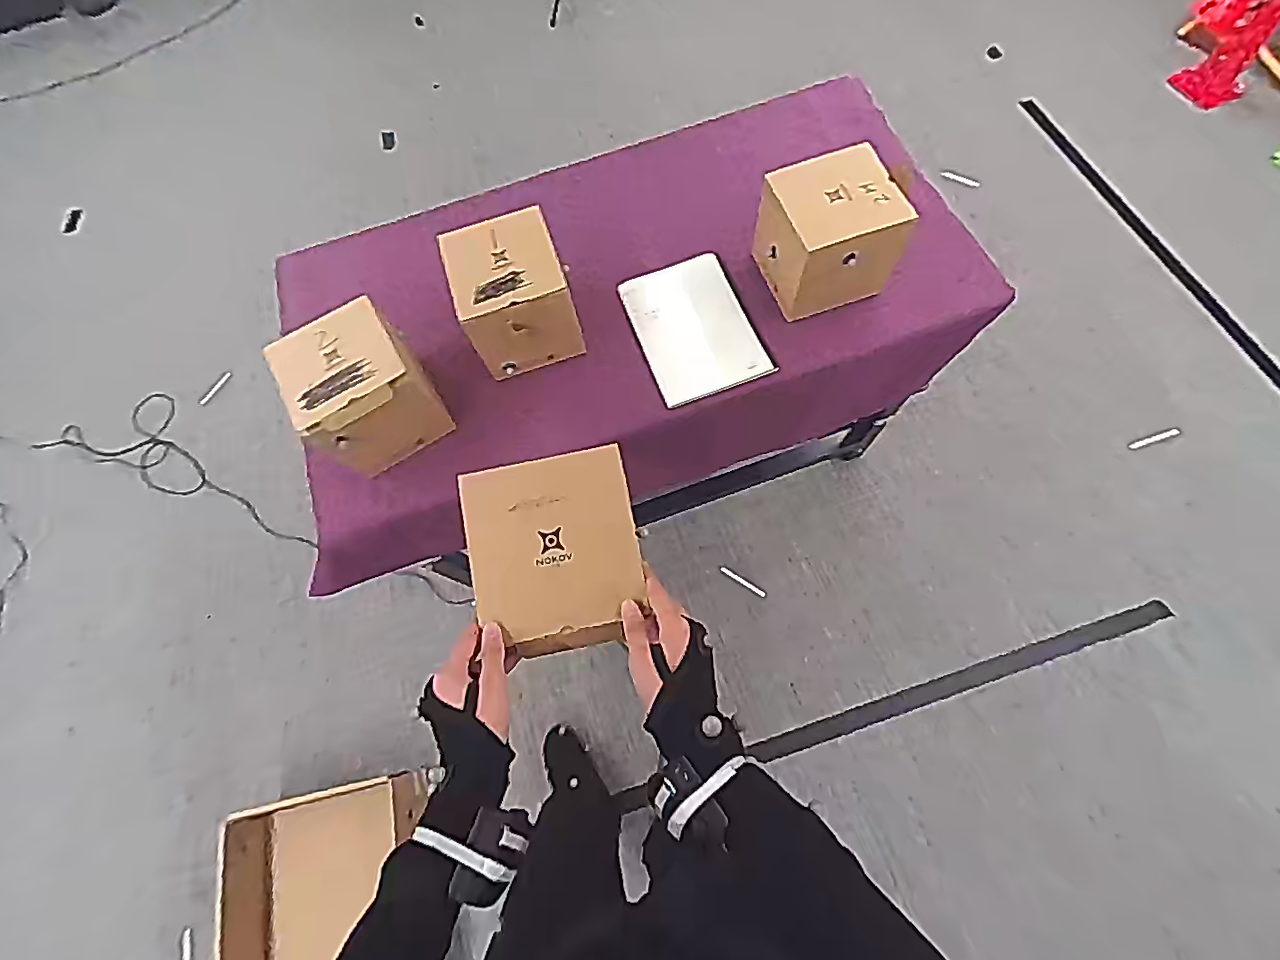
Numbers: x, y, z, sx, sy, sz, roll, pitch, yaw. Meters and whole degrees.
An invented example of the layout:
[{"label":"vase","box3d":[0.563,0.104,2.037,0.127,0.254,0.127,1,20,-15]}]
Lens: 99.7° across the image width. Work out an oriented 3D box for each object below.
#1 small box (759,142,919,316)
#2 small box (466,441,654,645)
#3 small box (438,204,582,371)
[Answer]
[{"label":"small box","box3d":[0.303,-0.394,0.874,0.179,0.176,0.168,-18,70,-2]},{"label":"small box","box3d":[-0.077,0.071,0.600,0.168,0.176,0.179,-11,79,-1]},{"label":"small box","box3d":[-0.201,-0.299,0.877,0.168,0.176,0.179,-18,69,-3]}]
